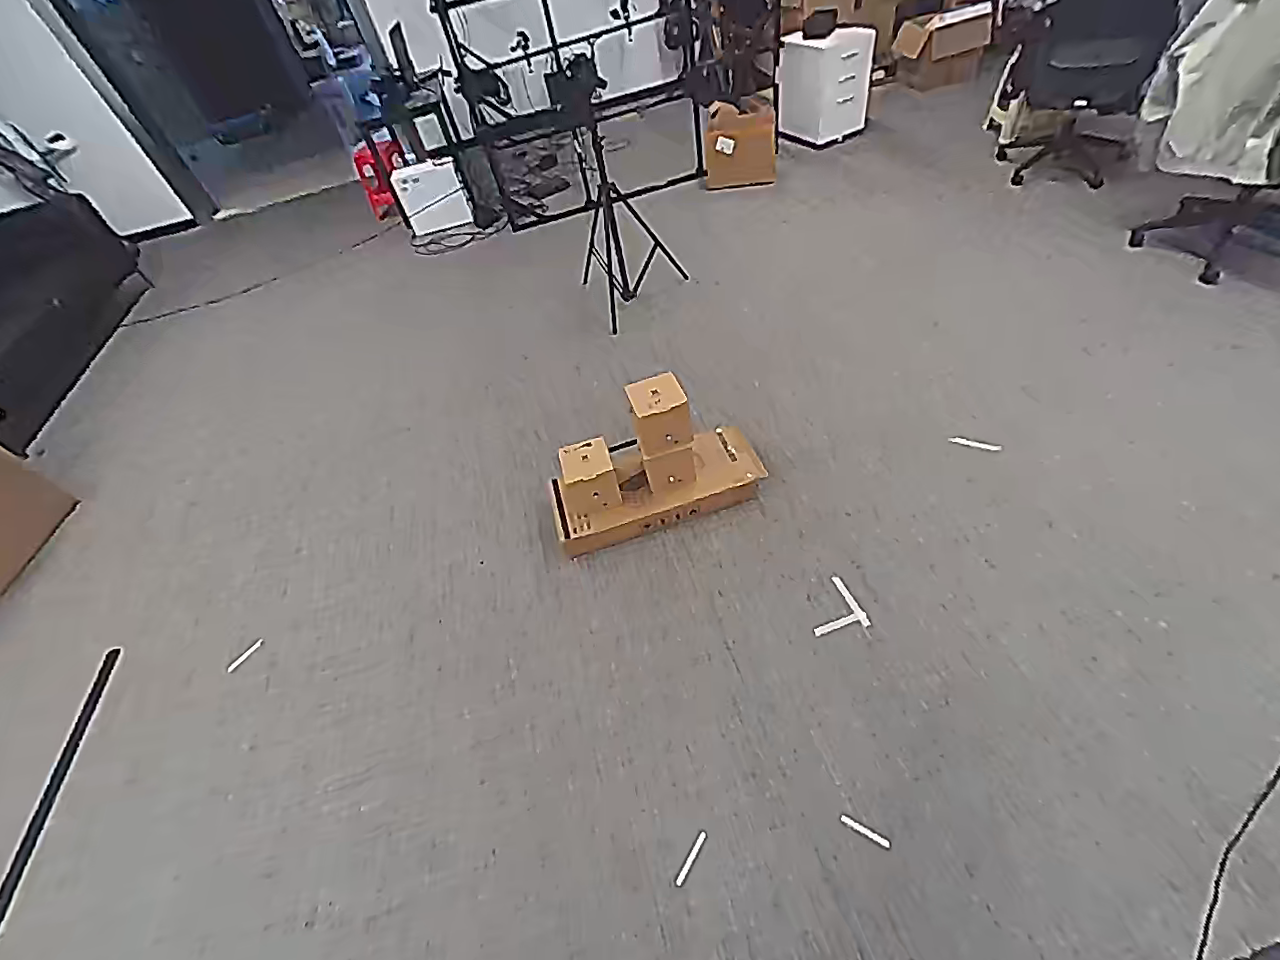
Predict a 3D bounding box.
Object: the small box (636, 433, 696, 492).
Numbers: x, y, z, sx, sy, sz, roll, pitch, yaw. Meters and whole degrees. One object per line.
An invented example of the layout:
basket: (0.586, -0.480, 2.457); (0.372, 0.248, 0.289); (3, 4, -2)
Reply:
small box: (0.089, -0.087, 1.866); (0.168, 0.176, 0.179); (-16, 47, 0)

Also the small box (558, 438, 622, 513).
small box: (-0.168, -0.007, 1.851); (0.168, 0.176, 0.179); (-17, 48, -3)

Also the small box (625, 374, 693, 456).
small box: (0.062, -0.210, 1.756); (0.168, 0.176, 0.179); (-19, 47, -3)
